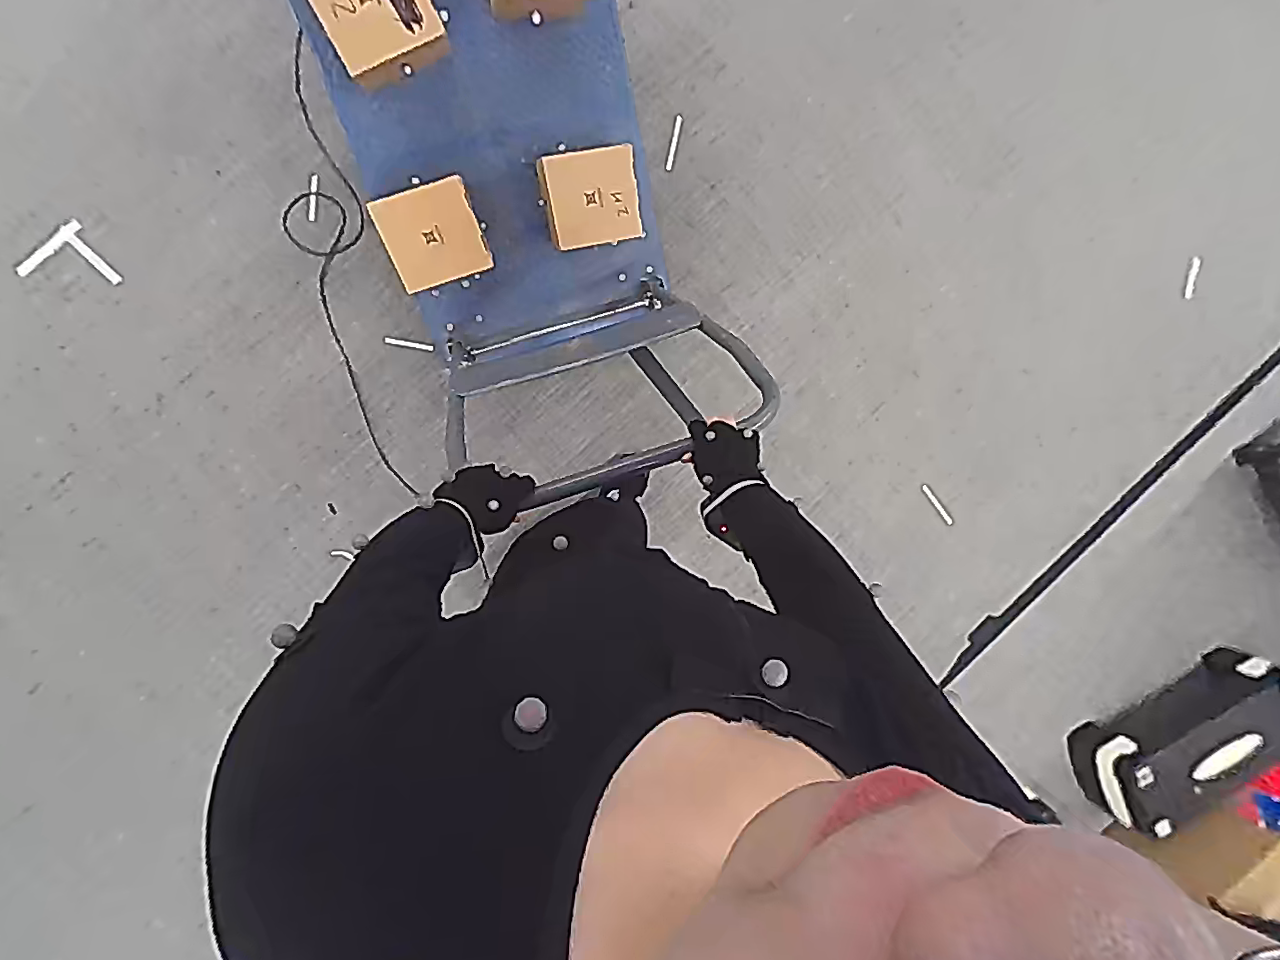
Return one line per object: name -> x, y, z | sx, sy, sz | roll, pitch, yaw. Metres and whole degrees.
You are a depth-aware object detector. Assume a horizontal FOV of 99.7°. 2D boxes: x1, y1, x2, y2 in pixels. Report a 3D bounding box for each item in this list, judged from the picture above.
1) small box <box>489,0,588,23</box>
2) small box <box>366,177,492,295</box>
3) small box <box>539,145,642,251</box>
small box -> -0.184, -0.916, 0.921 | 0.168, 0.176, 0.179 | -9, 120, -11
small box -> -0.409, -0.486, 1.080 | 0.179, 0.176, 0.168 | -22, 120, -6
small box -> -0.108, -0.580, 1.117 | 0.179, 0.176, 0.168 | -14, 120, -8
